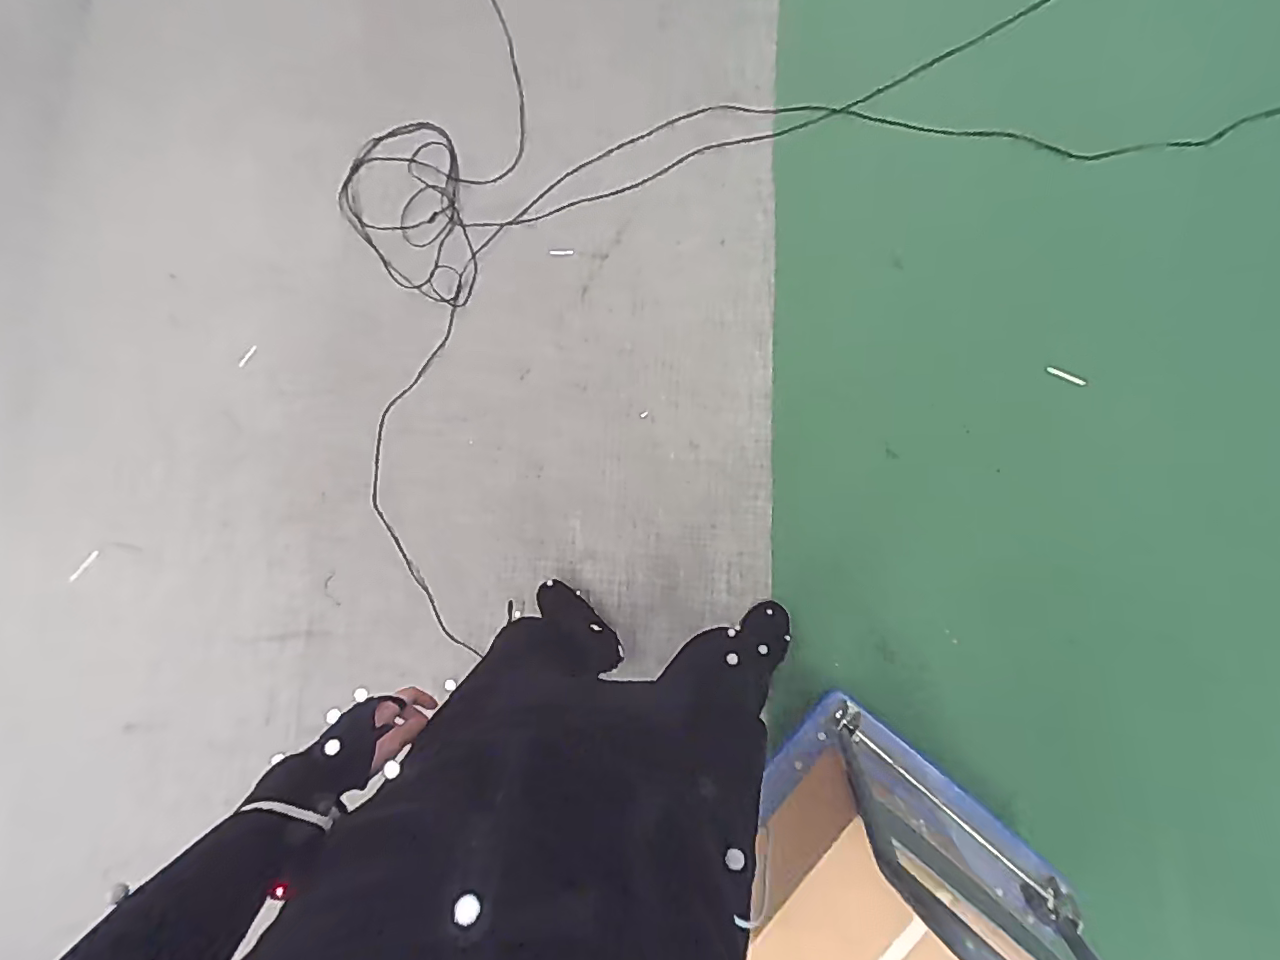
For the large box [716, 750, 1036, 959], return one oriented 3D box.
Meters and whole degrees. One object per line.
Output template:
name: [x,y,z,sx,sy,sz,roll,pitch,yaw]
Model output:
large box: [0.375,0.789,0.964,0.320,0.320,0.408,38,91,13]
